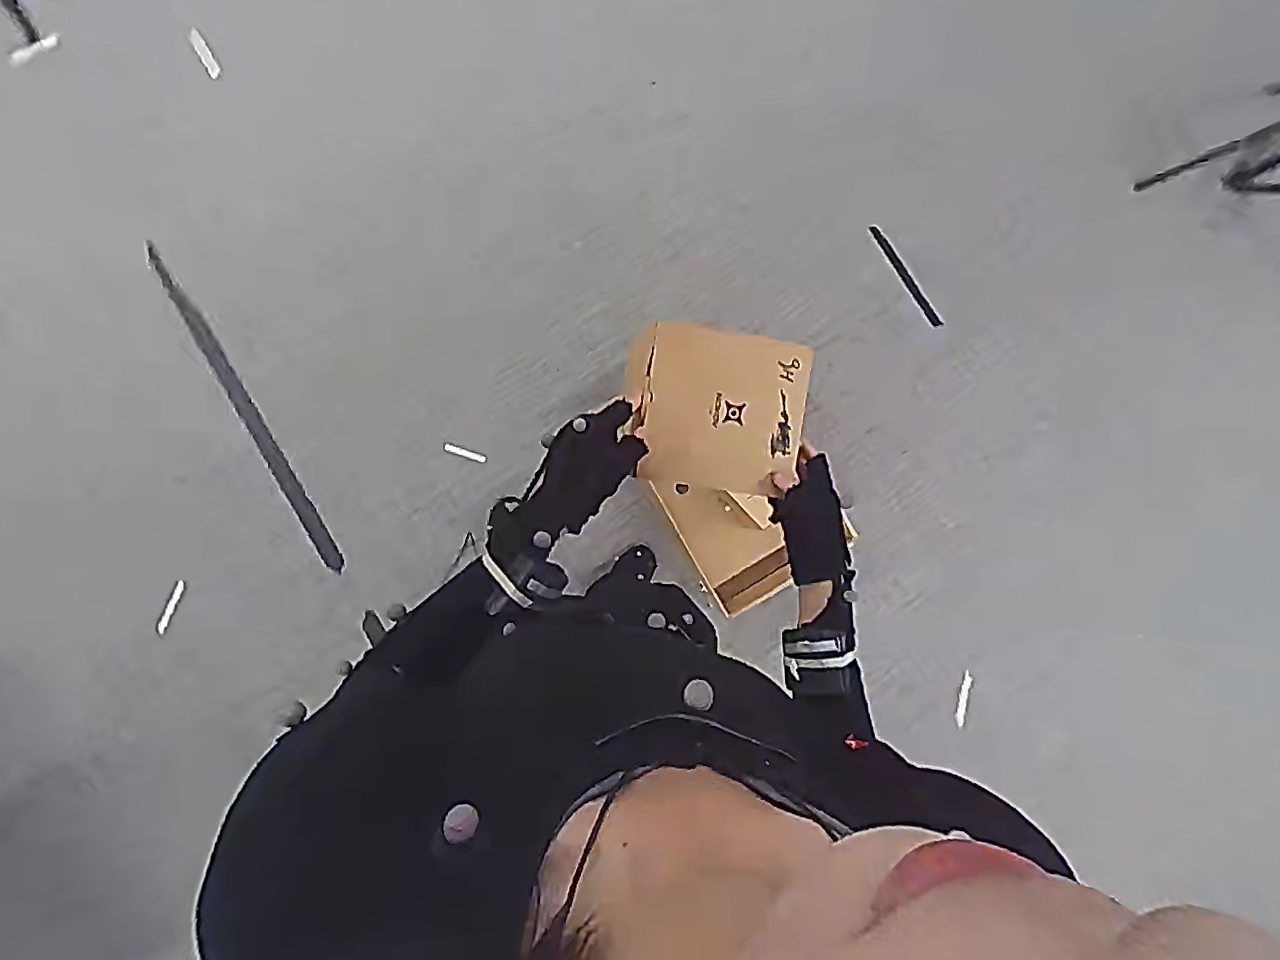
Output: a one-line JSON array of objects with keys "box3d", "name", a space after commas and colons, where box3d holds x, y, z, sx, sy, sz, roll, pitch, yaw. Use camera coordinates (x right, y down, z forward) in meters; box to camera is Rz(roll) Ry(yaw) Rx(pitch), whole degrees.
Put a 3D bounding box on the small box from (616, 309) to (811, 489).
[{"box3d": [0.072, -0.083, 0.632, 0.179, 0.176, 0.168, 7, 92, -10], "name": "small box"}]
